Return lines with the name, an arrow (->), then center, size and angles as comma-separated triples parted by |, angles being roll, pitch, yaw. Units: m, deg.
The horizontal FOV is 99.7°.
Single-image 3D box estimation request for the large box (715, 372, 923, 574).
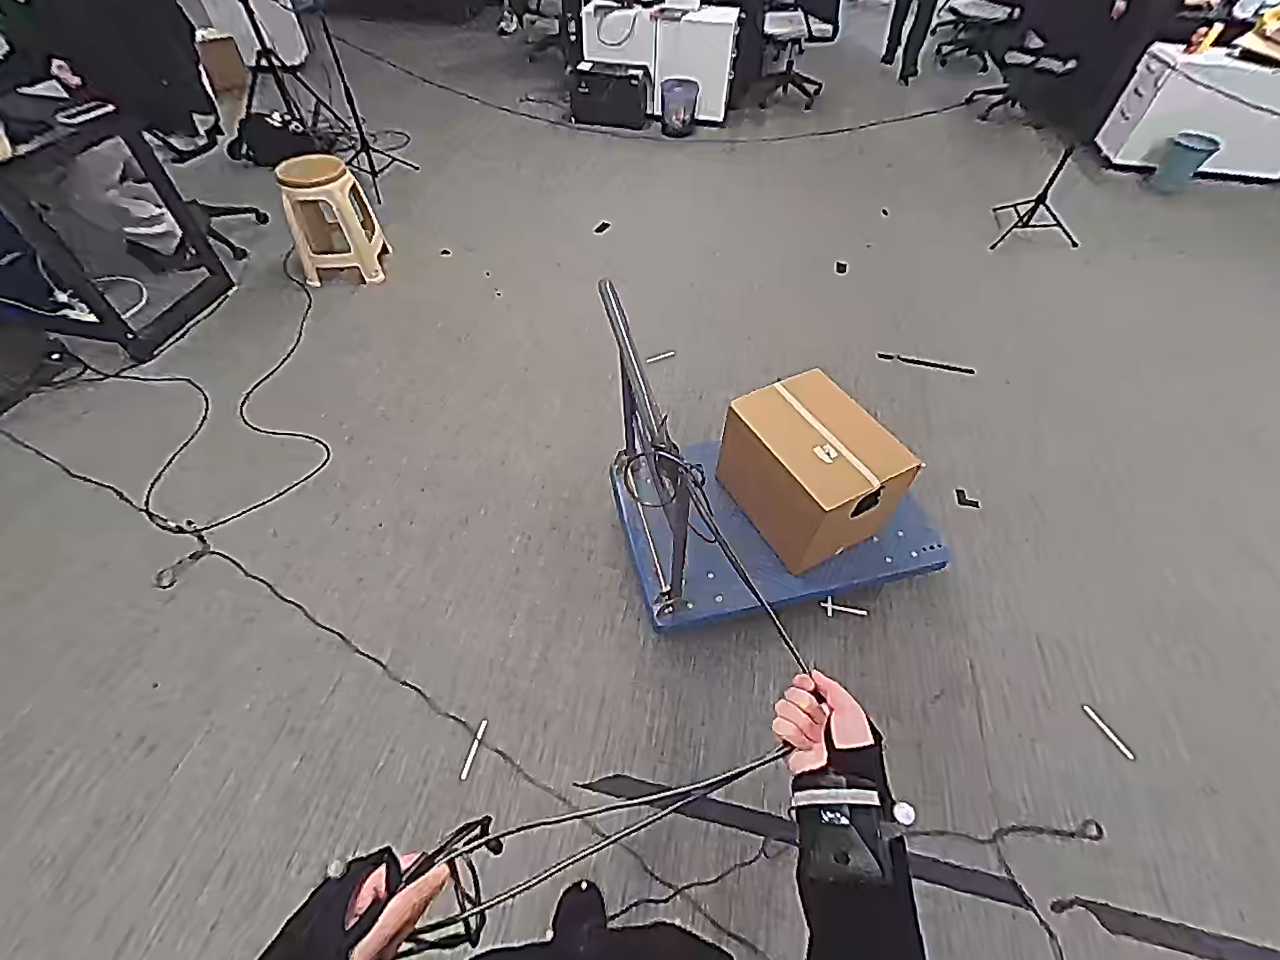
large box -> 0.458, -0.023, 1.490 | 0.320, 0.320, 0.408 | -23, 57, -17
